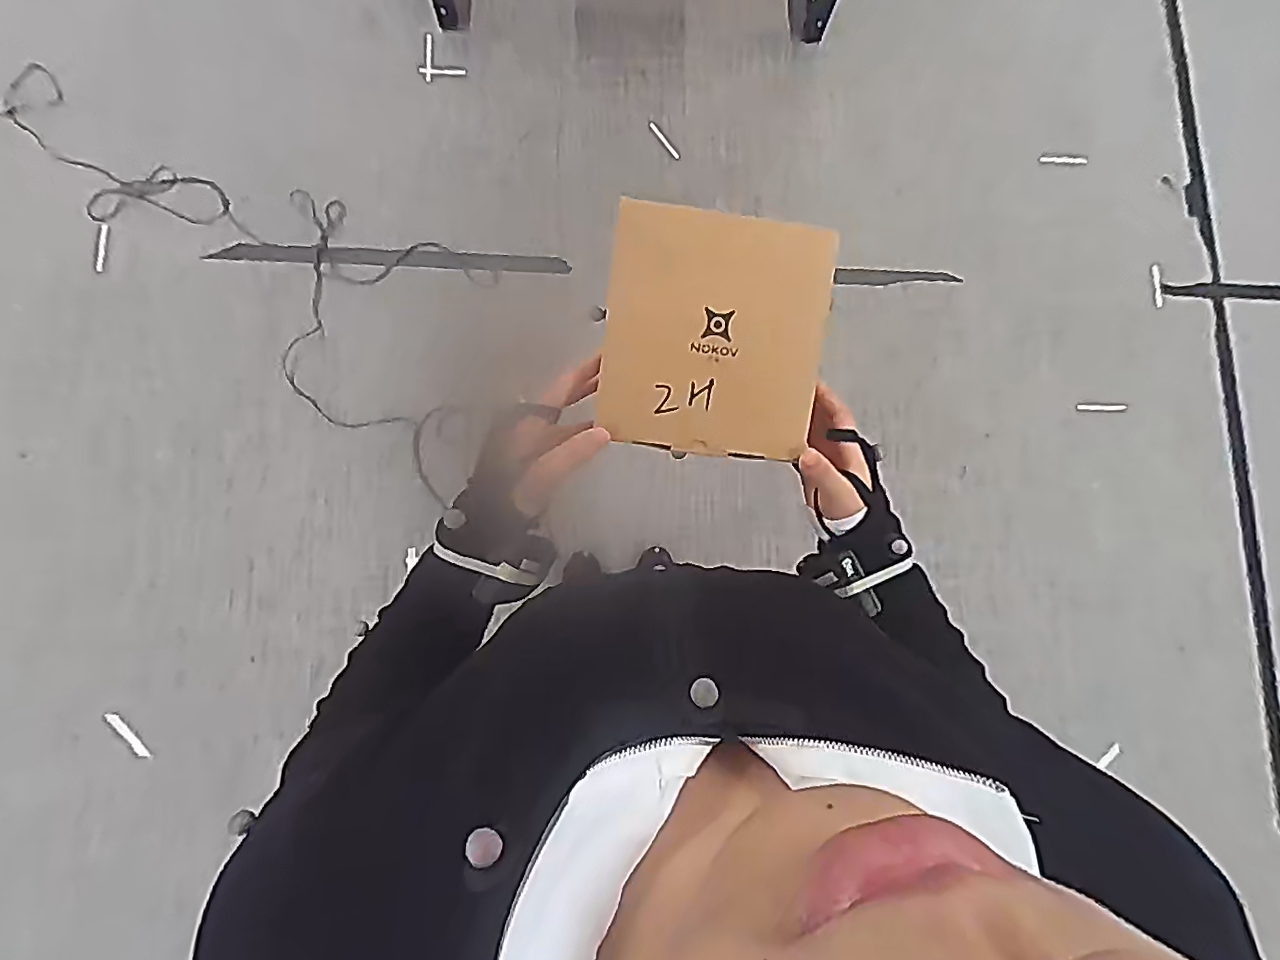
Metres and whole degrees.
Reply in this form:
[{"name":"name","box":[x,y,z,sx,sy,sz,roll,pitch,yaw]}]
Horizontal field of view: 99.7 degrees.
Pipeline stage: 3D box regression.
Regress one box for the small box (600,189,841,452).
[{"name":"small box","box":[0.056,-0.126,0.484,0.168,0.176,0.179,6,97,-3]}]
